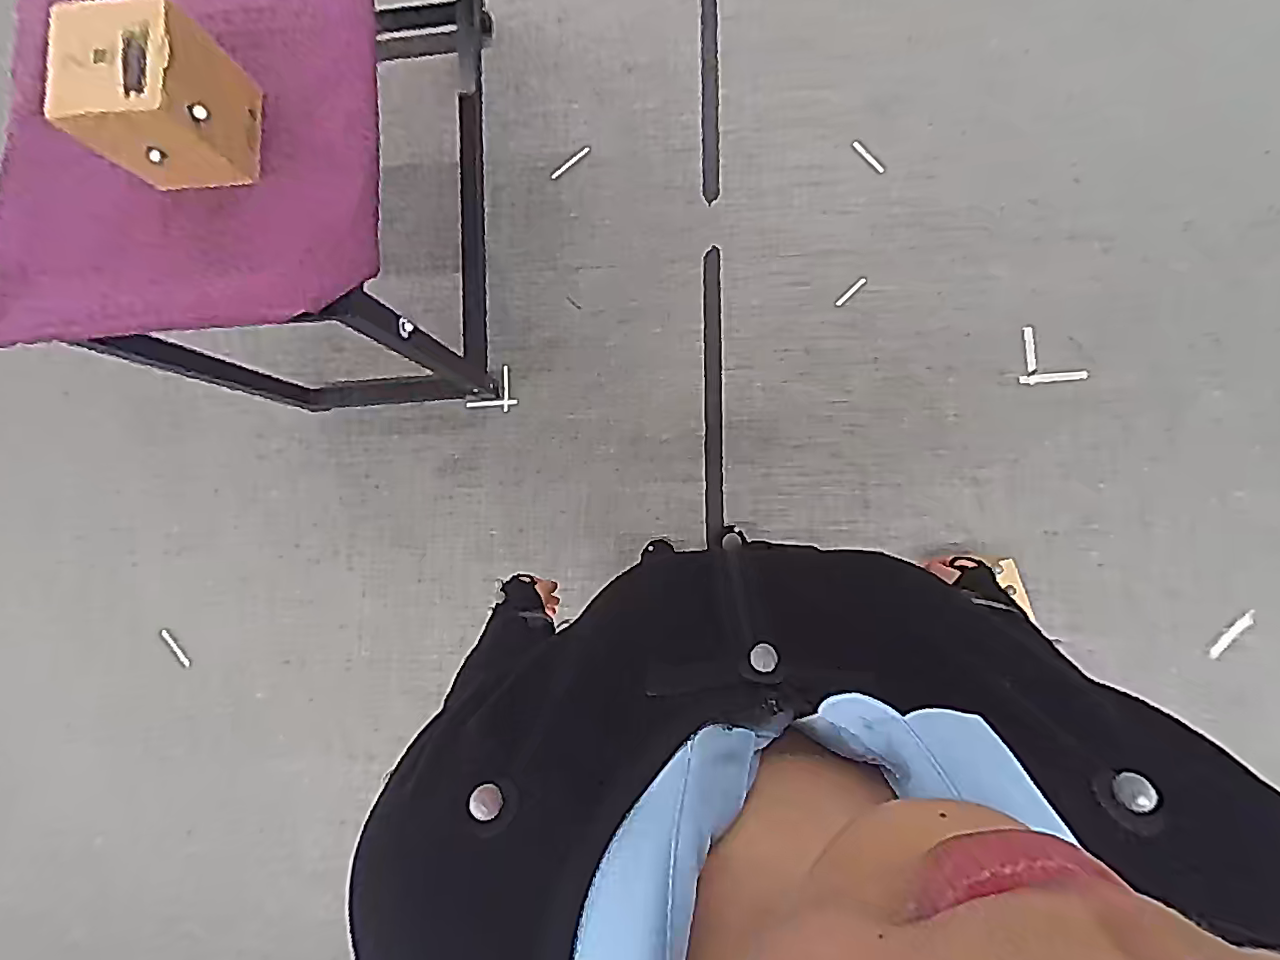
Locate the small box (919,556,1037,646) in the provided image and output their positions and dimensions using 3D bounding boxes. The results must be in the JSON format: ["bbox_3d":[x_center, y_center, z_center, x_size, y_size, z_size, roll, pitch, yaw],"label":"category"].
[{"bbox_3d":[0.839,0.295,1.363,0.168,0.176,0.179,-17,86,3],"label":"small box"}]
